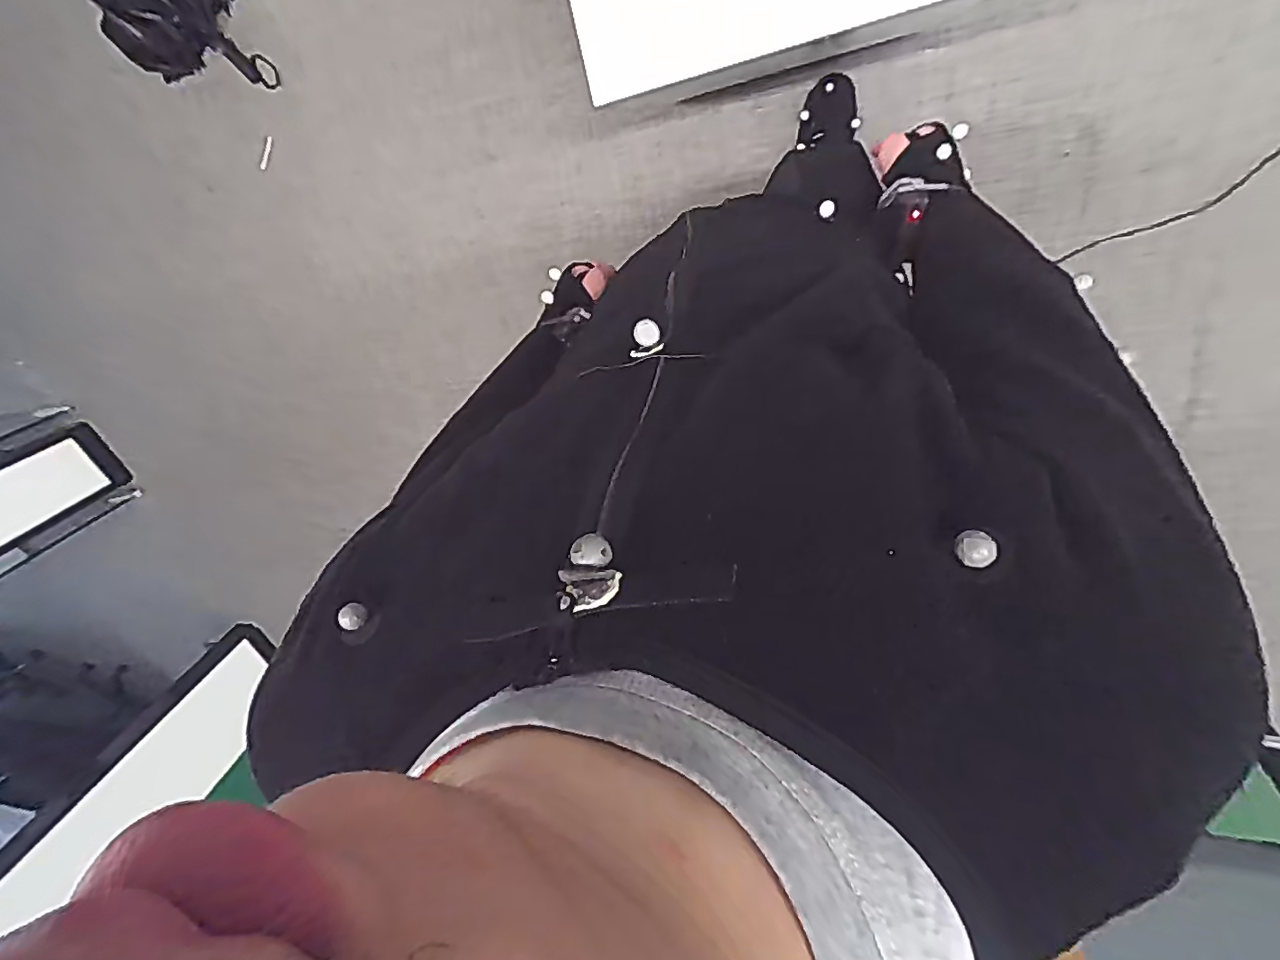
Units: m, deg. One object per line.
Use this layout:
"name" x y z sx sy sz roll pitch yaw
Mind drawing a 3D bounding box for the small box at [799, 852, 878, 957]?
"small box" 0.524 1.132 1.451 0.179 0.176 0.168 1 124 14
